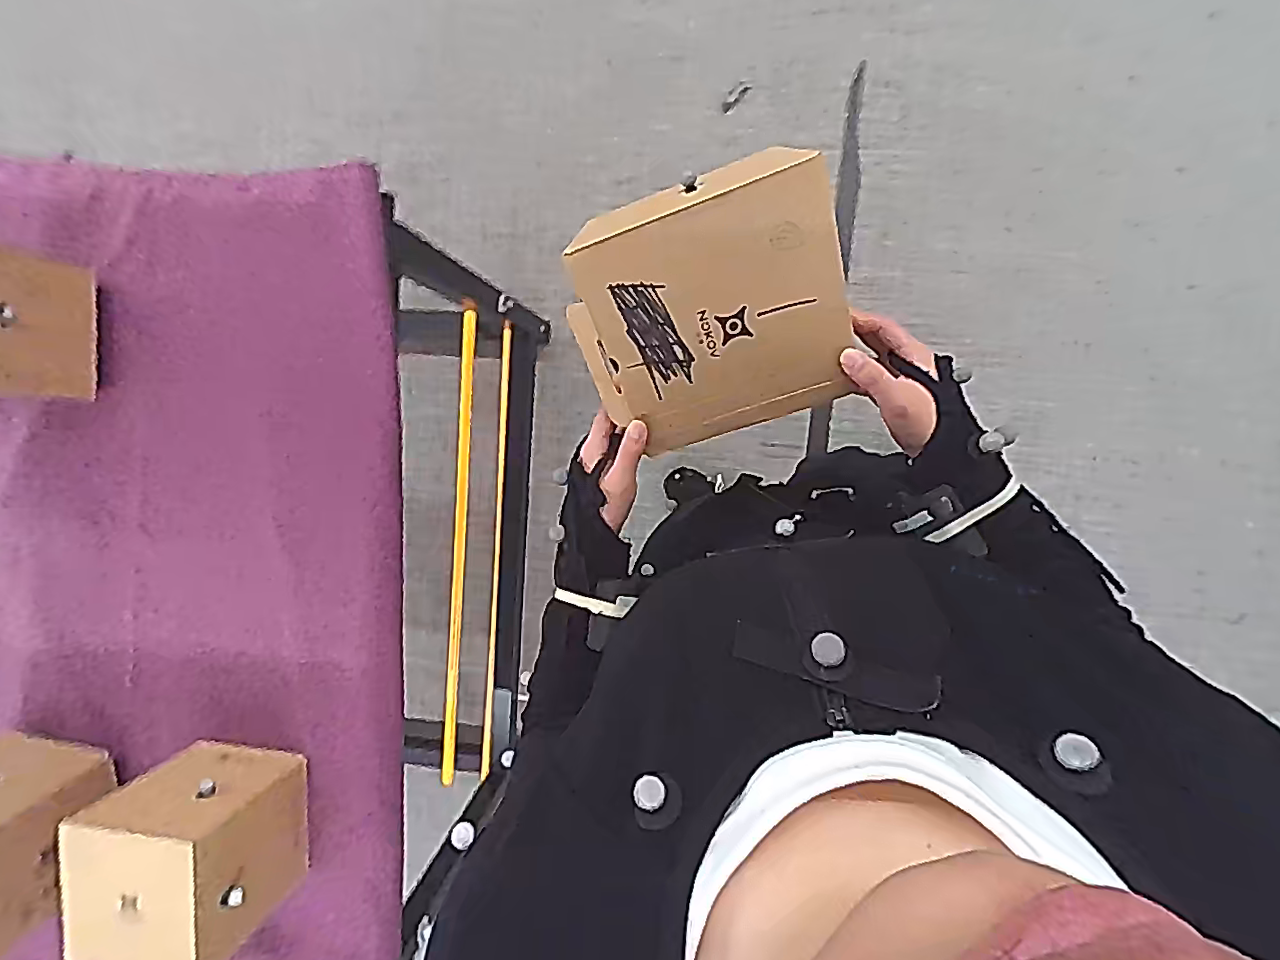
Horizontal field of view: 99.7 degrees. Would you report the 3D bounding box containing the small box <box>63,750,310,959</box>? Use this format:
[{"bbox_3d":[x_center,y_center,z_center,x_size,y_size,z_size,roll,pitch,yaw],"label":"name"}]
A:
[{"bbox_3d":[-0.536,0.460,0.662,0.168,0.176,0.179,3,95,7],"label":"small box"}]

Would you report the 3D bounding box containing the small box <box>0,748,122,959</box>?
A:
[{"bbox_3d":[-0.811,0.466,0.681,0.176,0.168,0.179,8,103,7],"label":"small box"}]

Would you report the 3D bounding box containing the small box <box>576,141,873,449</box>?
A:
[{"bbox_3d":[0.067,-0.153,0.441,0.179,0.176,0.168,-16,121,11],"label":"small box"}]
